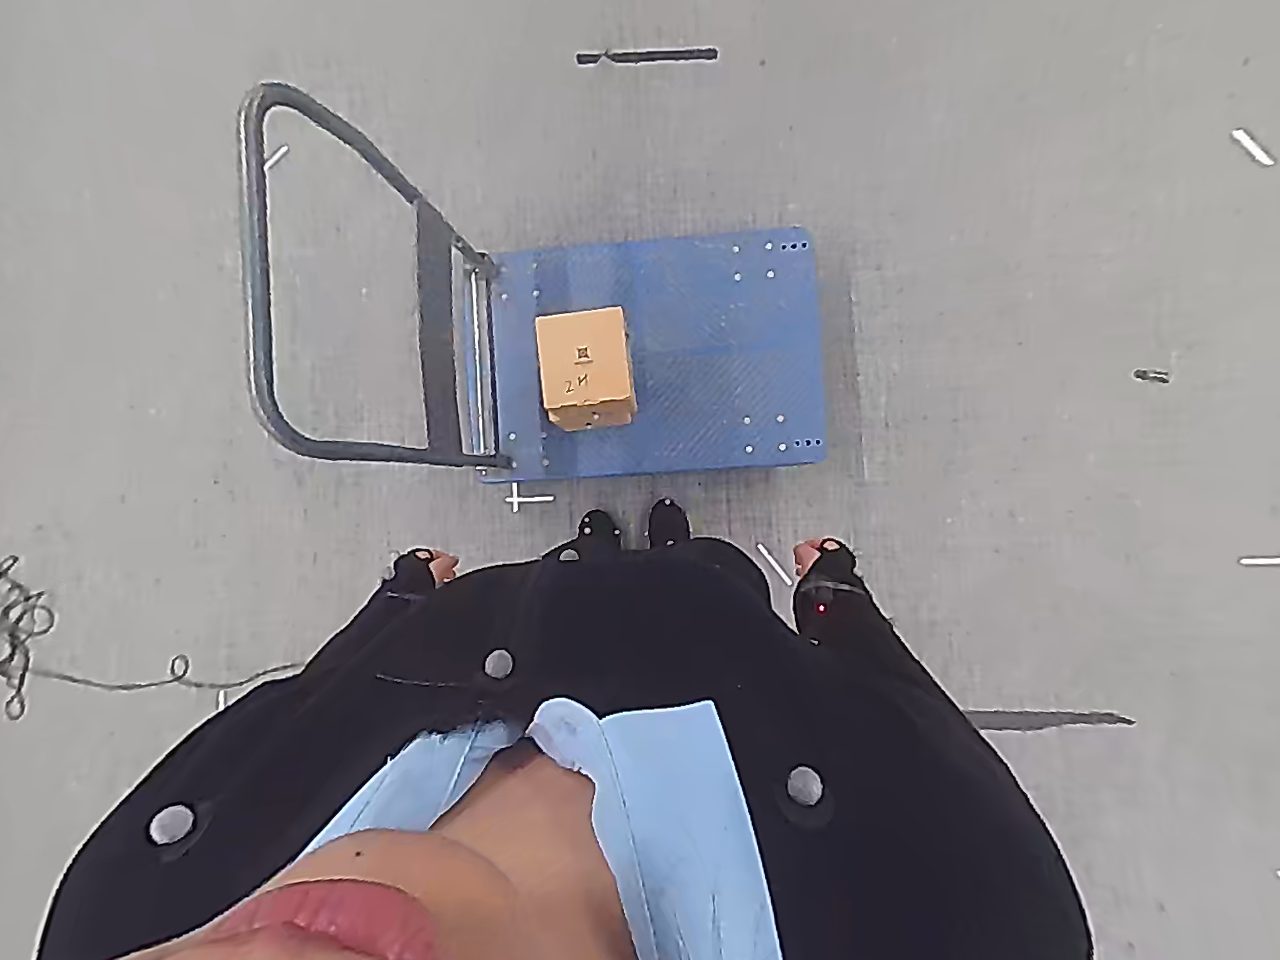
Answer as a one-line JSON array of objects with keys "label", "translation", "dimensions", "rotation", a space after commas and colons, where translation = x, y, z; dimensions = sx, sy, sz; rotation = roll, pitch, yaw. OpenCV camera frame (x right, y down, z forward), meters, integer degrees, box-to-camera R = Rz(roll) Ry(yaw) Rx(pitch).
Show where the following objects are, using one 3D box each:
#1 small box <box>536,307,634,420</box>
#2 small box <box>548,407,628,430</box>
[{"label": "small box", "translation": [-0.104, -0.225, 1.079], "dimensions": [0.168, 0.176, 0.179], "rotation": [-6, 89, 3]}, {"label": "small box", "translation": [-0.121, -0.219, 1.245], "dimensions": [0.168, 0.176, 0.179], "rotation": [-7, 89, 3]}]
